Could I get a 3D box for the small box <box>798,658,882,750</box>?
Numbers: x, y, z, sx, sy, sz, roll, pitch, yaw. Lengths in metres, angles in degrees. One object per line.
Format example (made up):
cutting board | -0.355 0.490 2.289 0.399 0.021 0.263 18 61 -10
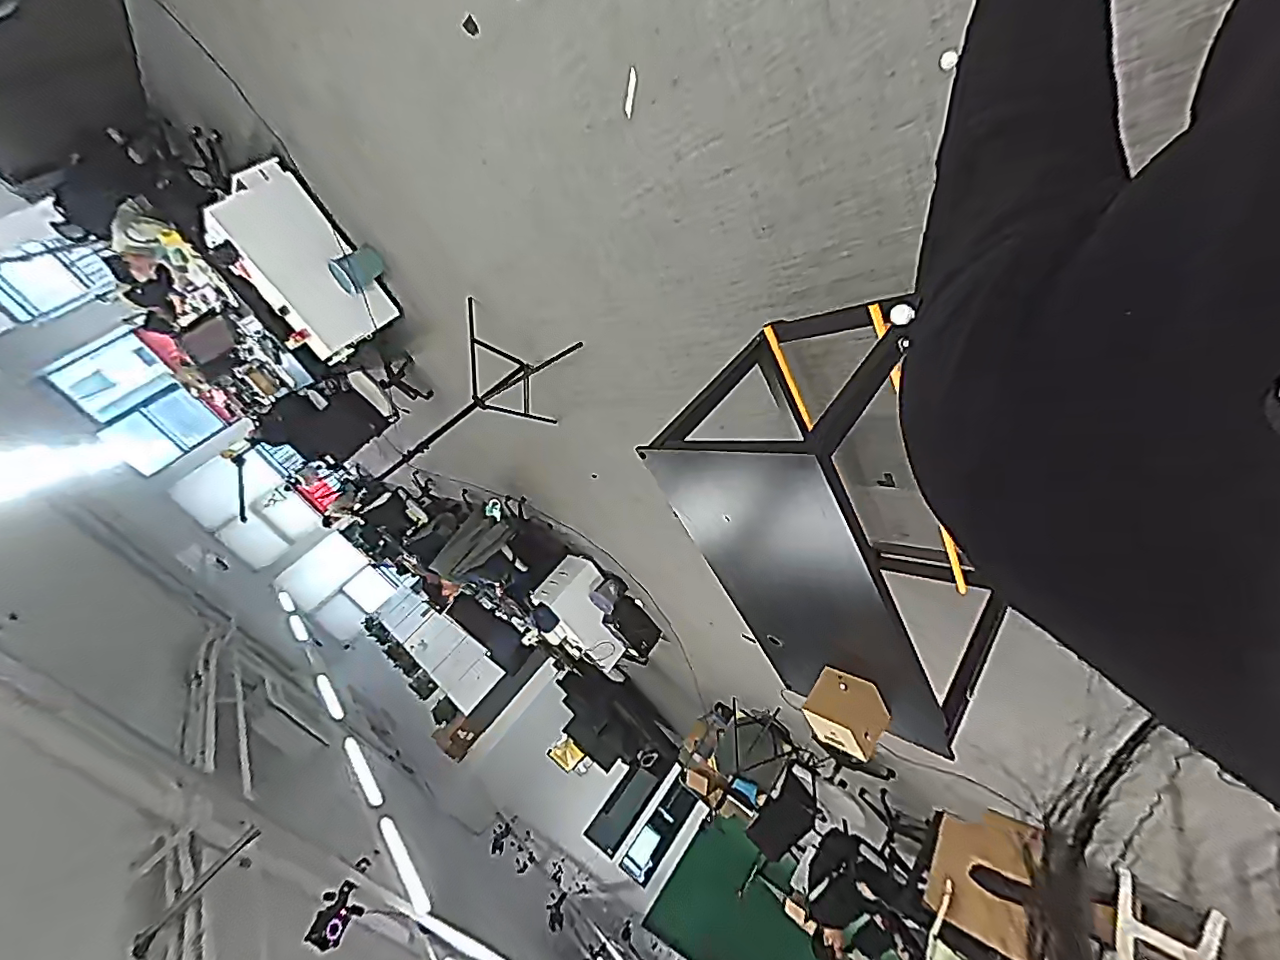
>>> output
small box | 0.632 0.696 1.694 0.168 0.176 0.179 7 136 51
